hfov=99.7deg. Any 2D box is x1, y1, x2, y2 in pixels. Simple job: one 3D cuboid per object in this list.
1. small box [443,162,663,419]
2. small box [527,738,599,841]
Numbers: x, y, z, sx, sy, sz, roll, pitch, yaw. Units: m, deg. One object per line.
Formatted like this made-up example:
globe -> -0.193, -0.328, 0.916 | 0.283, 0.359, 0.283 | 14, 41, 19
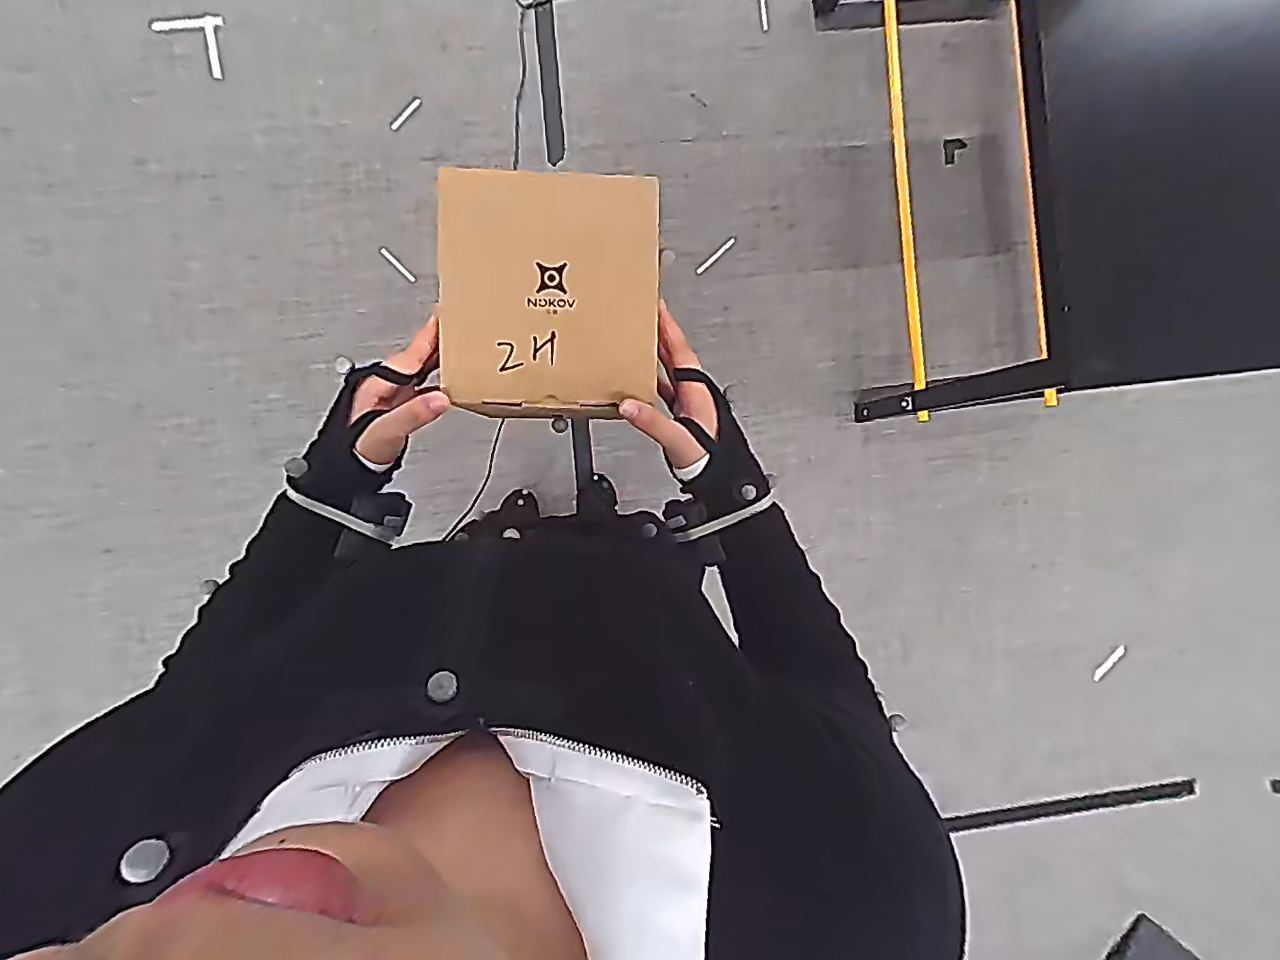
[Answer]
small box -> -0.071, -0.151, 0.490 | 0.168, 0.176, 0.179 | 1, 92, -3
small box -> -0.200, 0.806, 1.431 | 0.168, 0.176, 0.179 | -6, 91, -3
